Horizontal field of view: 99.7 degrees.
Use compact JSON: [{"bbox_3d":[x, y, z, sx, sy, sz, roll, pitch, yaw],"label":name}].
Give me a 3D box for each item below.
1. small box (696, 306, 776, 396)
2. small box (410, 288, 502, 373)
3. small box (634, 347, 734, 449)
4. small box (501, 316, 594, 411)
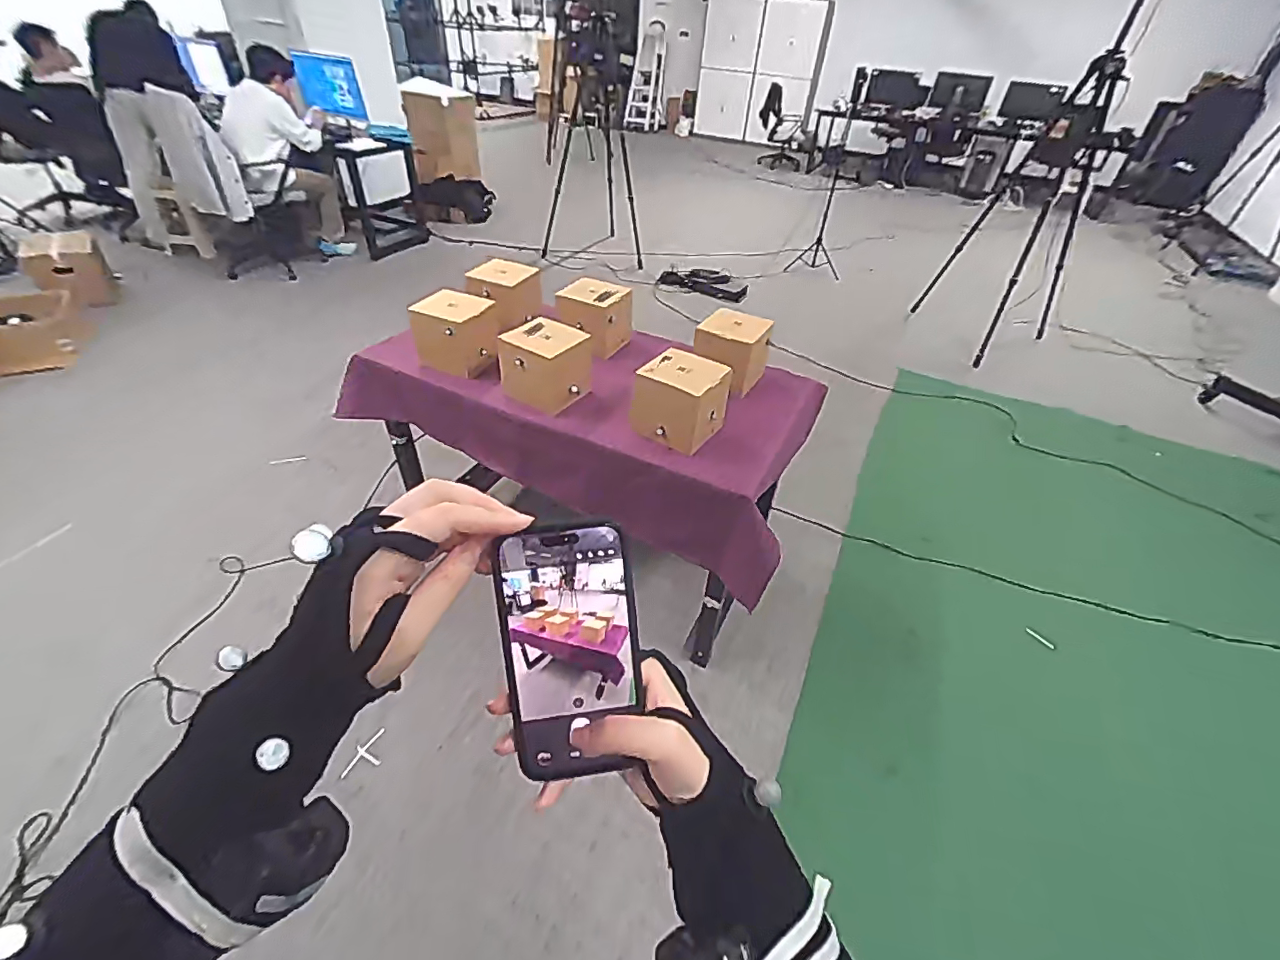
[{"bbox_3d":[0.262,-0.365,1.533,0.168,0.176,0.179,23,45,21],"label":"small box"},{"bbox_3d":[-0.510,-0.420,1.523,0.179,0.176,0.168,18,42,13],"label":"small box"},{"bbox_3d":[0.103,-0.196,1.322,0.179,0.176,0.168,27,45,23],"label":"small box"},{"bbox_3d":[-0.239,-0.304,1.415,0.179,0.176,0.168,26,45,22],"label":"small box"}]
